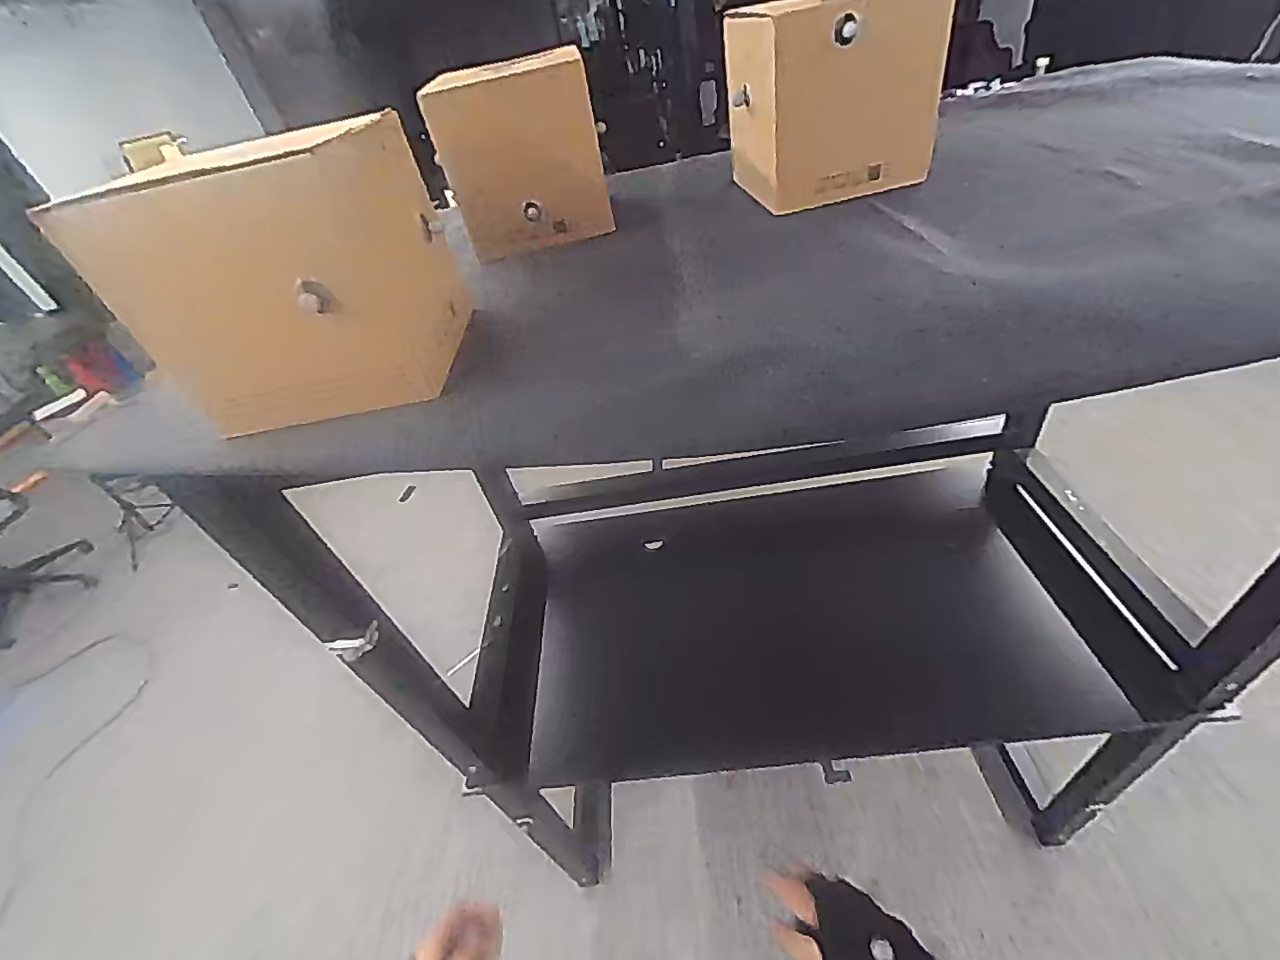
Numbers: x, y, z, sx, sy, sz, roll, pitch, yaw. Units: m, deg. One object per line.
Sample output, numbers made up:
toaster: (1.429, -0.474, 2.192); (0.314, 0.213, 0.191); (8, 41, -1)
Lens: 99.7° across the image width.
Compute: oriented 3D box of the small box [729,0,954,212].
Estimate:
small box: (0.199, -0.407, 0.584); (0.168, 0.176, 0.179); (-13, 40, 1)

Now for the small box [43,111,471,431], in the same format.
small box: (-0.250, -0.159, 0.416); (0.179, 0.176, 0.168); (-9, 40, 3)
